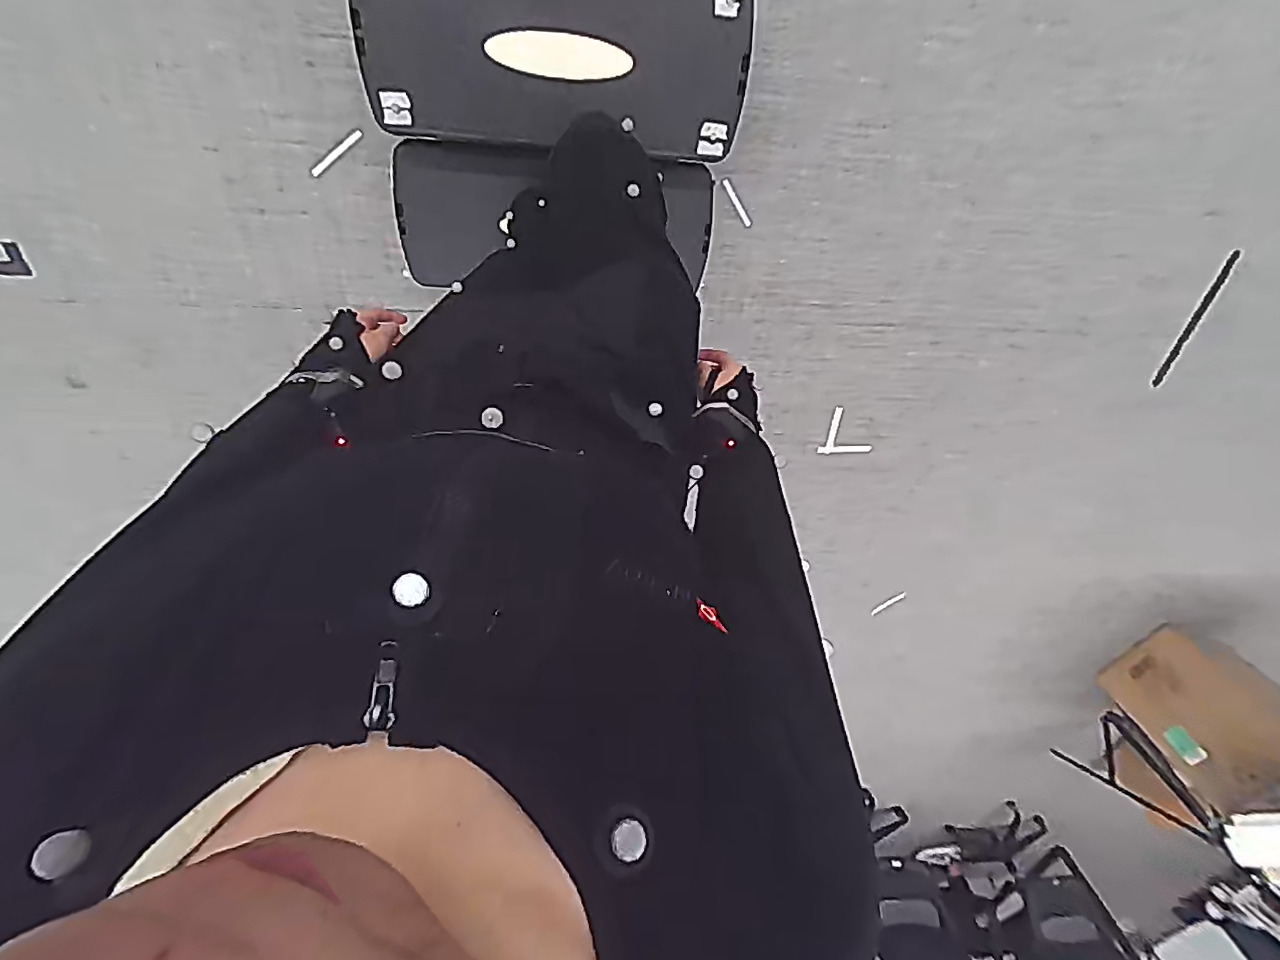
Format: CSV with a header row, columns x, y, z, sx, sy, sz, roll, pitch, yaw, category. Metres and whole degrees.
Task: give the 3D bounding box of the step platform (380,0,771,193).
x,y,z,sx,sy,sz,roll,pitch,yaw,category
-0.110,-0.746,1.014,0.684,0.204,0.286,4,122,-11,step platform
